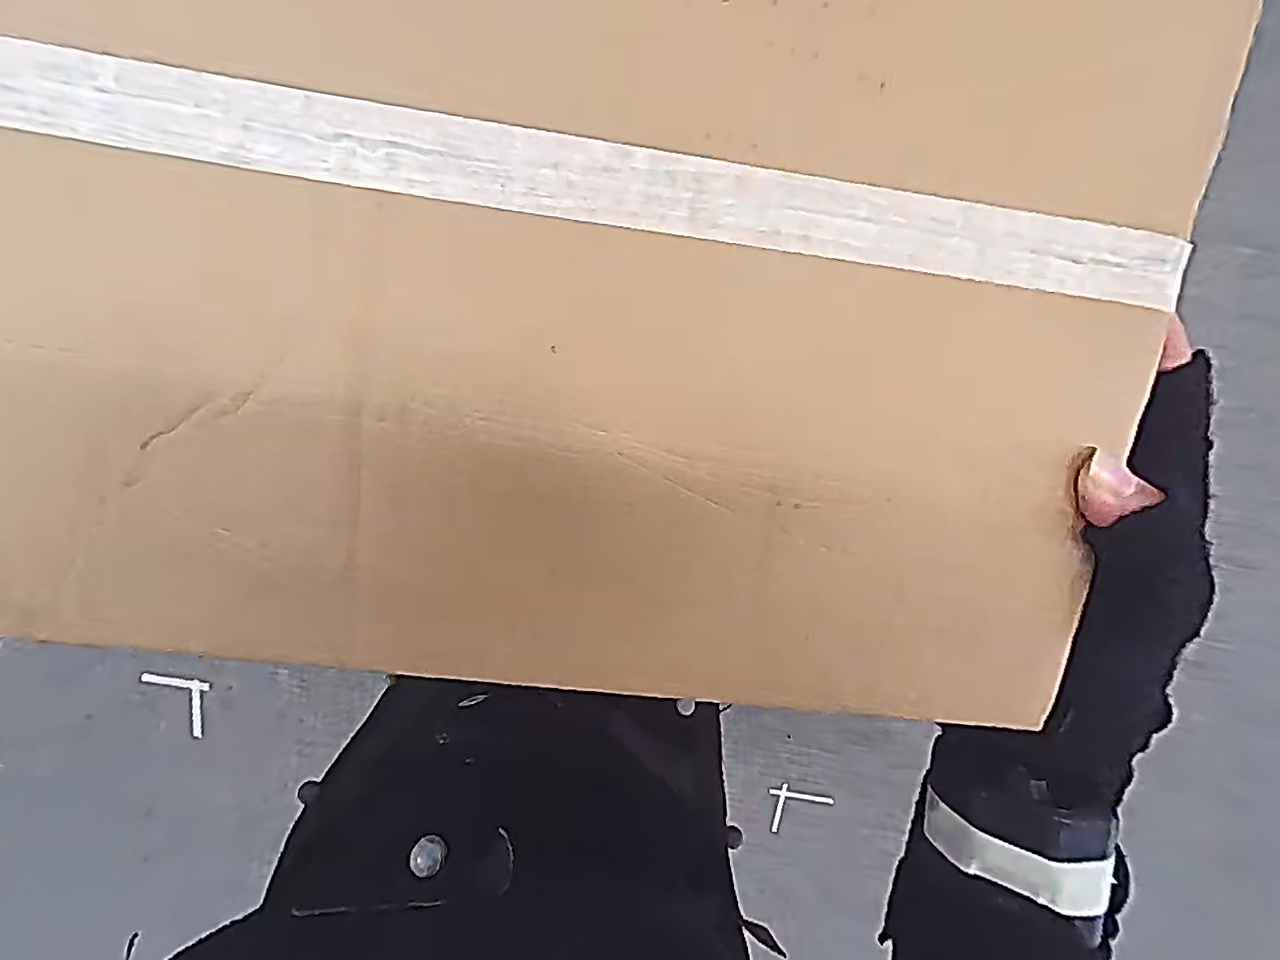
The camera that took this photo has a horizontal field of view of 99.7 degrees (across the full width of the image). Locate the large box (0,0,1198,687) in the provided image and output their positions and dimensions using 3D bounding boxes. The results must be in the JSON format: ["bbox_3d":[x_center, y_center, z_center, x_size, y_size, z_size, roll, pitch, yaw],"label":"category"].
[{"bbox_3d":[-0.047,-0.117,0.310,0.408,0.320,0.320,7,100,-5],"label":"large box"}]
